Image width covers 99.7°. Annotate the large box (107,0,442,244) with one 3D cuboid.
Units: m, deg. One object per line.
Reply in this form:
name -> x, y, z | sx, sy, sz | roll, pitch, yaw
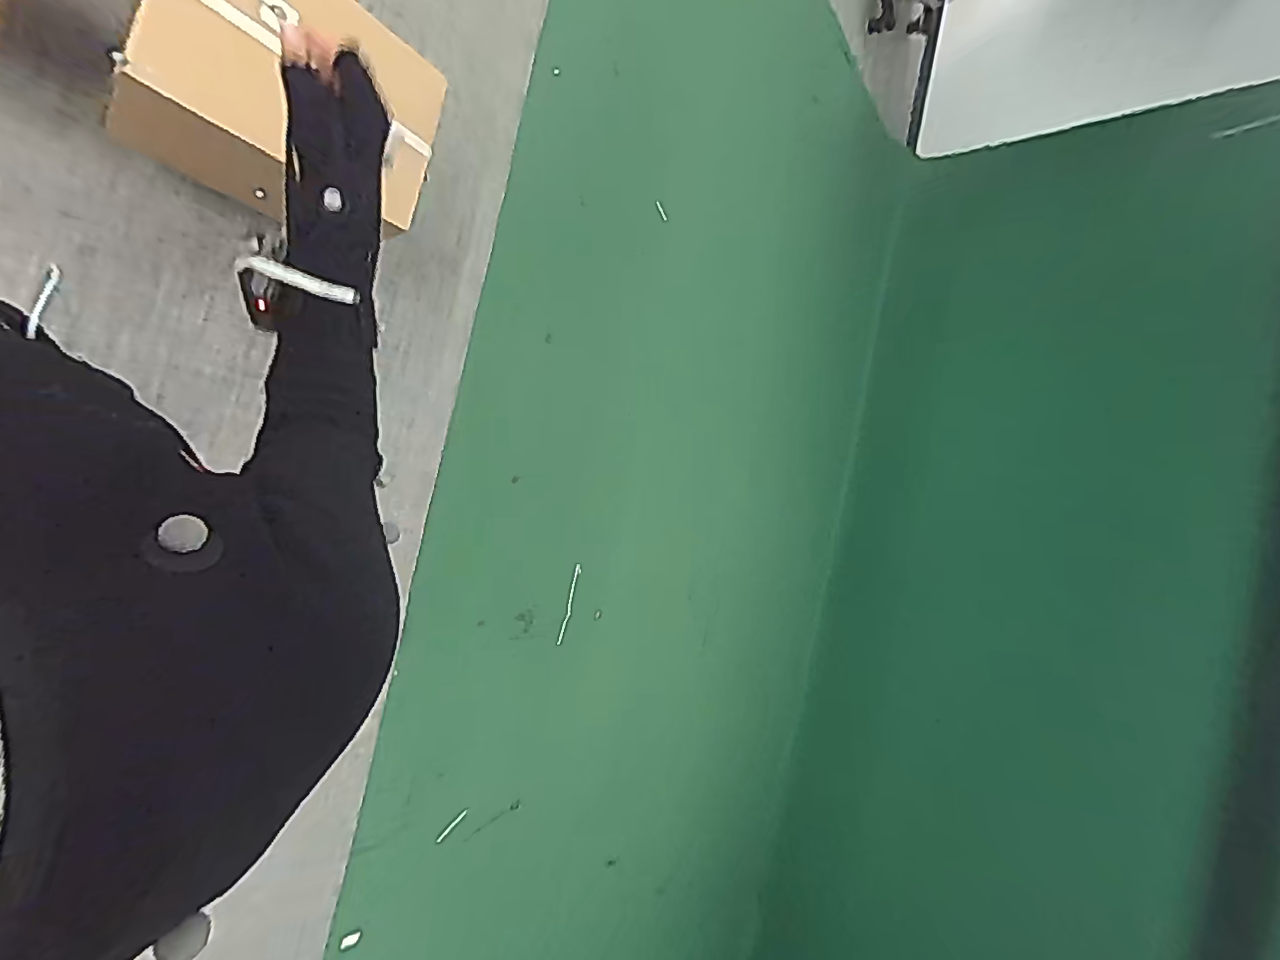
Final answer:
large box -> -0.648, -0.687, 0.985 | 0.408, 0.320, 0.320 | 17, 85, -48
